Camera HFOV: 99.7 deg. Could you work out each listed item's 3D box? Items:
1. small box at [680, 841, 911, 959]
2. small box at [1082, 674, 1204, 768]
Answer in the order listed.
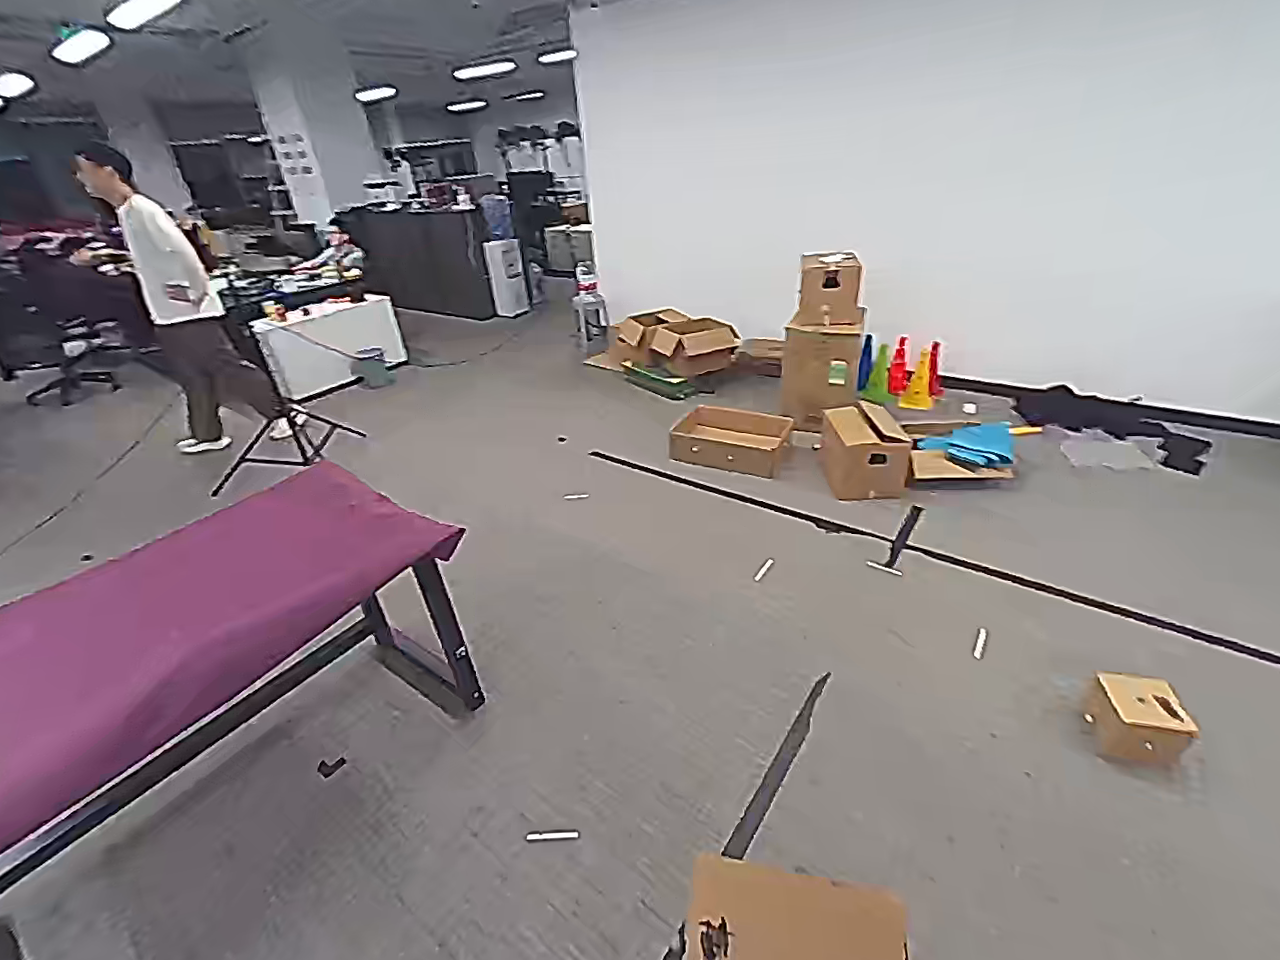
[{"bbox_3d":[0.123,0.439,0.472,0.179,0.176,0.168,6,49,9],"label":"small box"},{"bbox_3d":[1.410,0.683,1.530,0.179,0.176,0.168,3,32,14],"label":"small box"}]
